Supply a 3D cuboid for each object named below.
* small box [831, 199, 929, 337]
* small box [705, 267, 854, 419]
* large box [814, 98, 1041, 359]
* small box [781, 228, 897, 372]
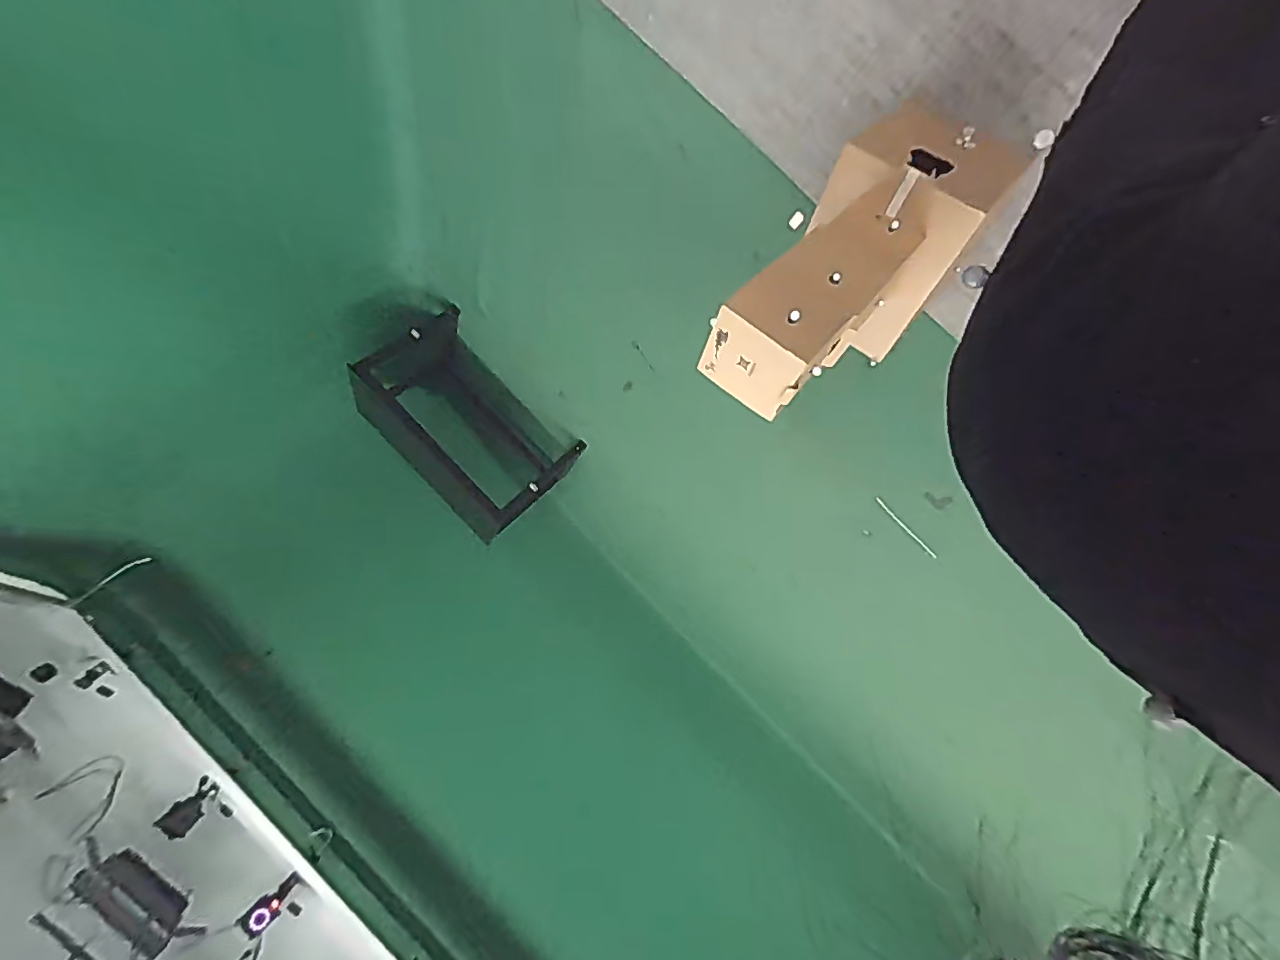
[{"bbox_3d":[0.464,-0.445,1.132,0.168,0.176,0.179,39,151,12],"label":"small box"},{"bbox_3d":[0.250,-0.251,0.976,0.179,0.176,0.168,38,151,11],"label":"small box"},{"bbox_3d":[0.619,-0.579,1.269,0.320,0.320,0.408,39,153,16],"label":"large box"},{"bbox_3d":[0.358,-0.351,1.048,0.179,0.176,0.168,40,152,10],"label":"small box"}]
